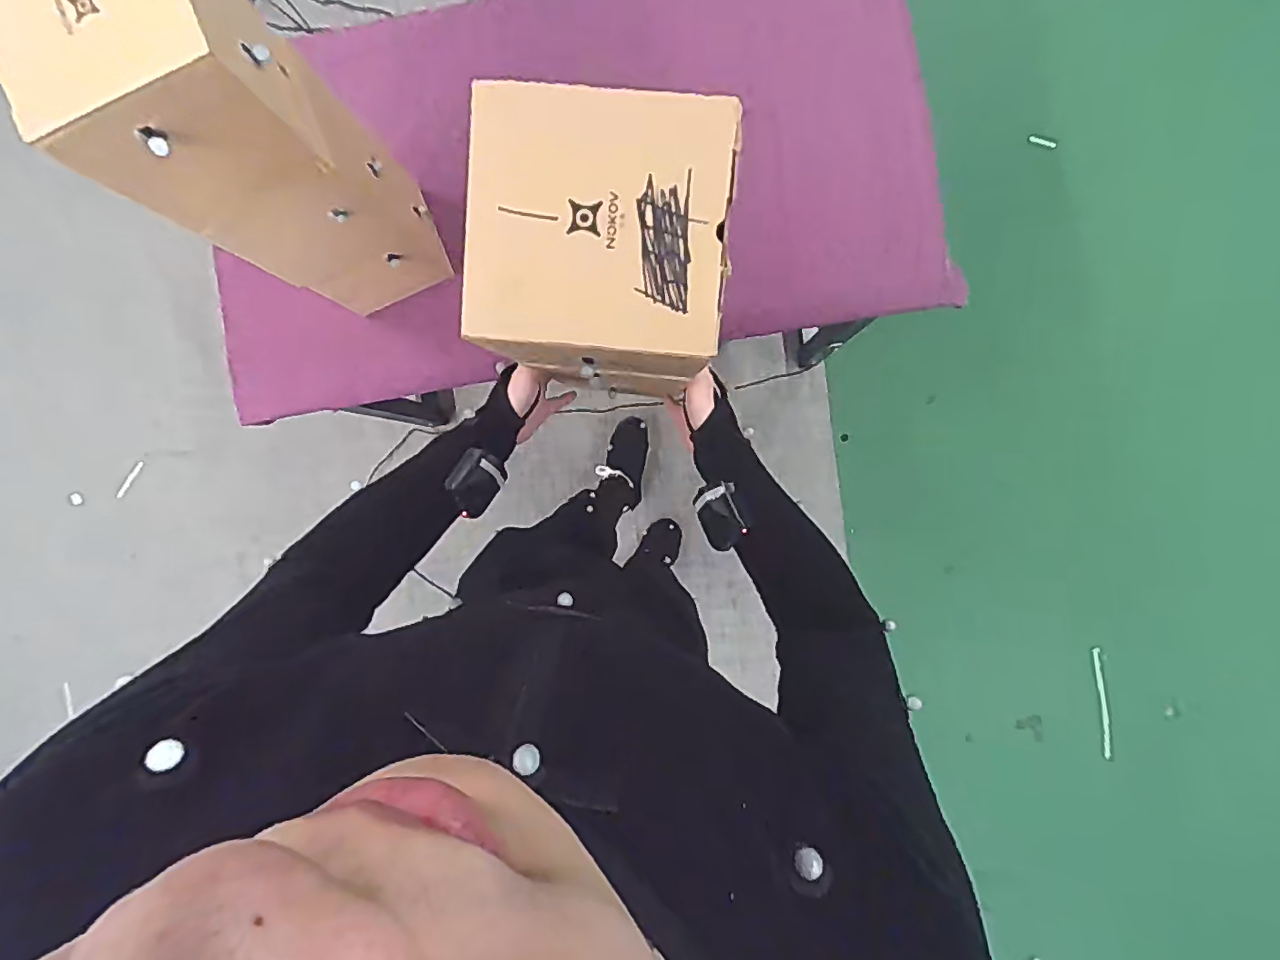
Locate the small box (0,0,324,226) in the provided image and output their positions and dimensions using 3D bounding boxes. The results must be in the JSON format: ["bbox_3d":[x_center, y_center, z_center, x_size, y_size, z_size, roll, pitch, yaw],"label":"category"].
[{"bbox_3d":[-0.434,-0.375,0.503,0.179,0.176,0.168,-24,90,3],"label":"small box"}]

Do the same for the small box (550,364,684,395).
[{"bbox_3d":[-0.018,-0.215,0.763,0.179,0.176,0.168,8,96,-1],"label":"small box"}]

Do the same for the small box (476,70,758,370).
[{"bbox_3d":[-0.017,-0.184,0.436,0.179,0.176,0.168,6,96,0],"label":"small box"}]

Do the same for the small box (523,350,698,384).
[{"bbox_3d":[-0.018,-0.200,0.601,0.179,0.176,0.168,6,97,1],"label":"small box"}]

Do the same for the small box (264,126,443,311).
[{"bbox_3d":[-0.426,-0.386,0.830,0.179,0.176,0.168,-22,89,3],"label":"small box"}]
